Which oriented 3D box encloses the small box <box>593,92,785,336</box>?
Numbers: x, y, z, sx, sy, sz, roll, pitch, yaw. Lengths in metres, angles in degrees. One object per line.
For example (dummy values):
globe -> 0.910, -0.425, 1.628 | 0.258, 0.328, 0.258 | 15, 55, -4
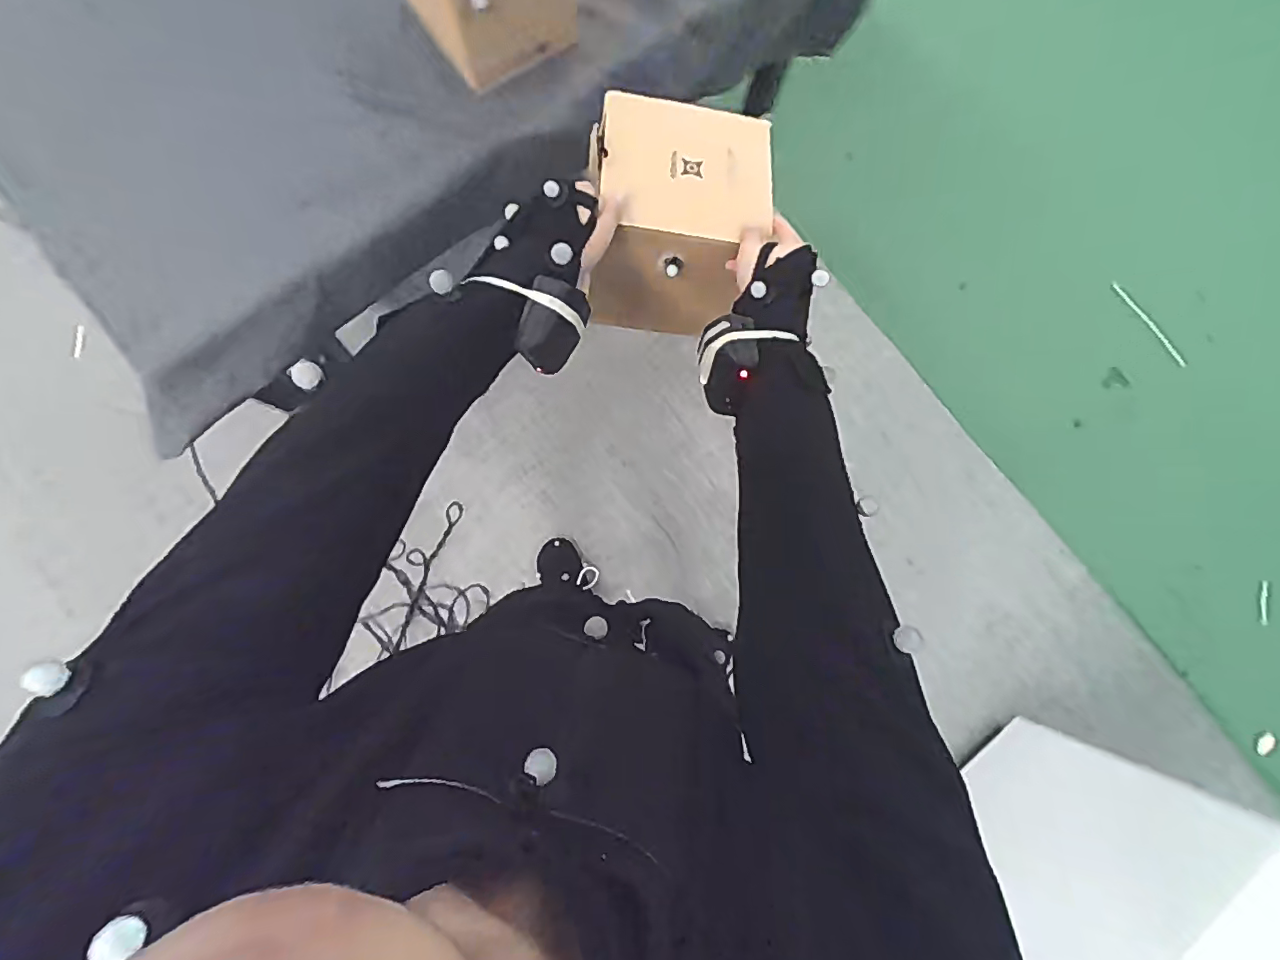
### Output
small box -> 0.043, -0.280, 0.604 | 0.179, 0.176, 0.168 | 5, 73, -10
